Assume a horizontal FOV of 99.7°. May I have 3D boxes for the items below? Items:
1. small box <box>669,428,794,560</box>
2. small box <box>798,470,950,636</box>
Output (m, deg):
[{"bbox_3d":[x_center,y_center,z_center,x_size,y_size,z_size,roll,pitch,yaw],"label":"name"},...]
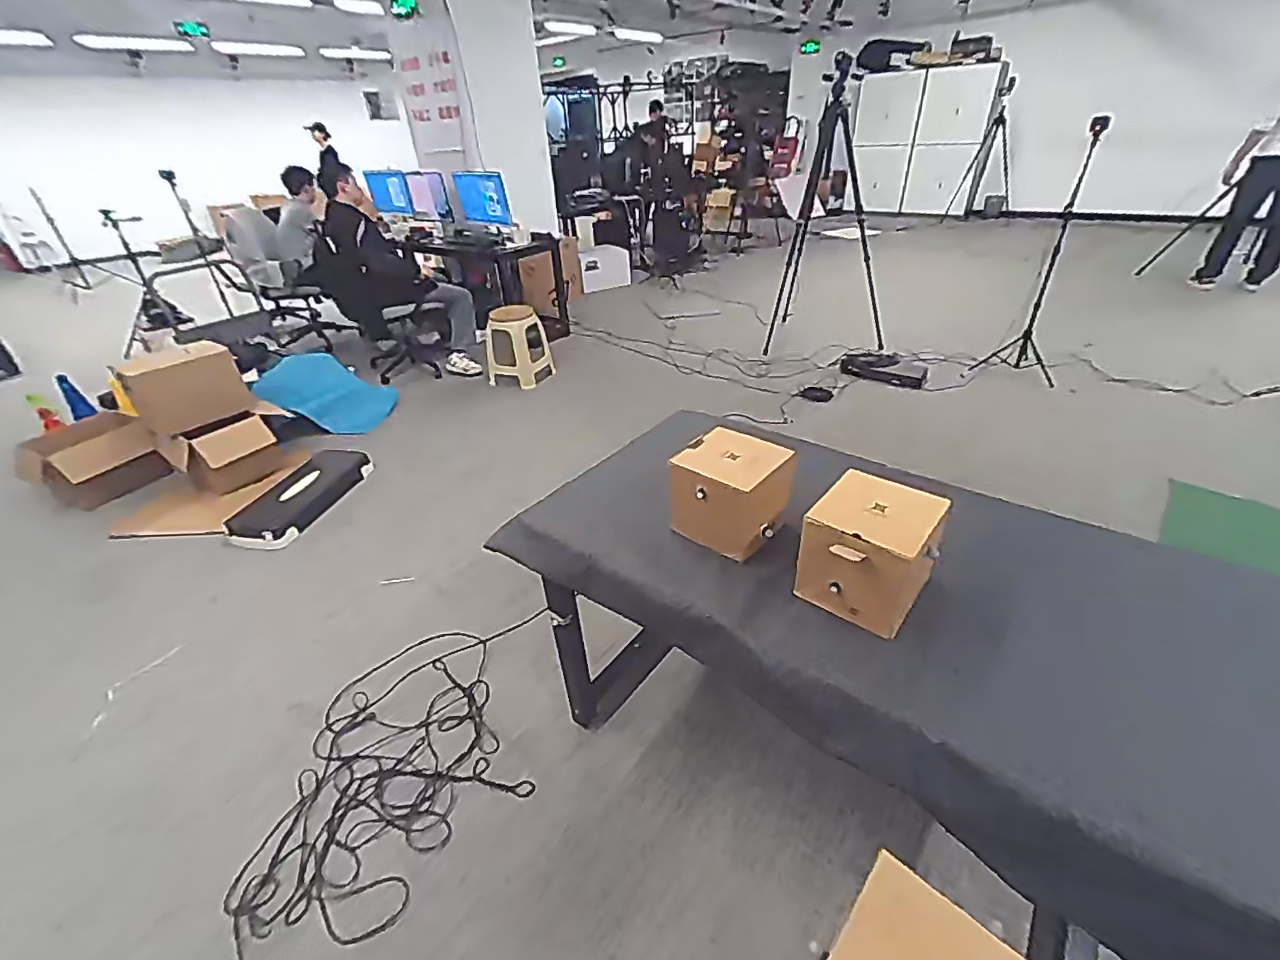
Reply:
[{"bbox_3d":[0.172,0.026,1.040,0.179,0.176,0.168,24,43,34],"label":"small box"},{"bbox_3d":[0.374,0.114,0.883,0.168,0.176,0.179,23,42,35],"label":"small box"}]
